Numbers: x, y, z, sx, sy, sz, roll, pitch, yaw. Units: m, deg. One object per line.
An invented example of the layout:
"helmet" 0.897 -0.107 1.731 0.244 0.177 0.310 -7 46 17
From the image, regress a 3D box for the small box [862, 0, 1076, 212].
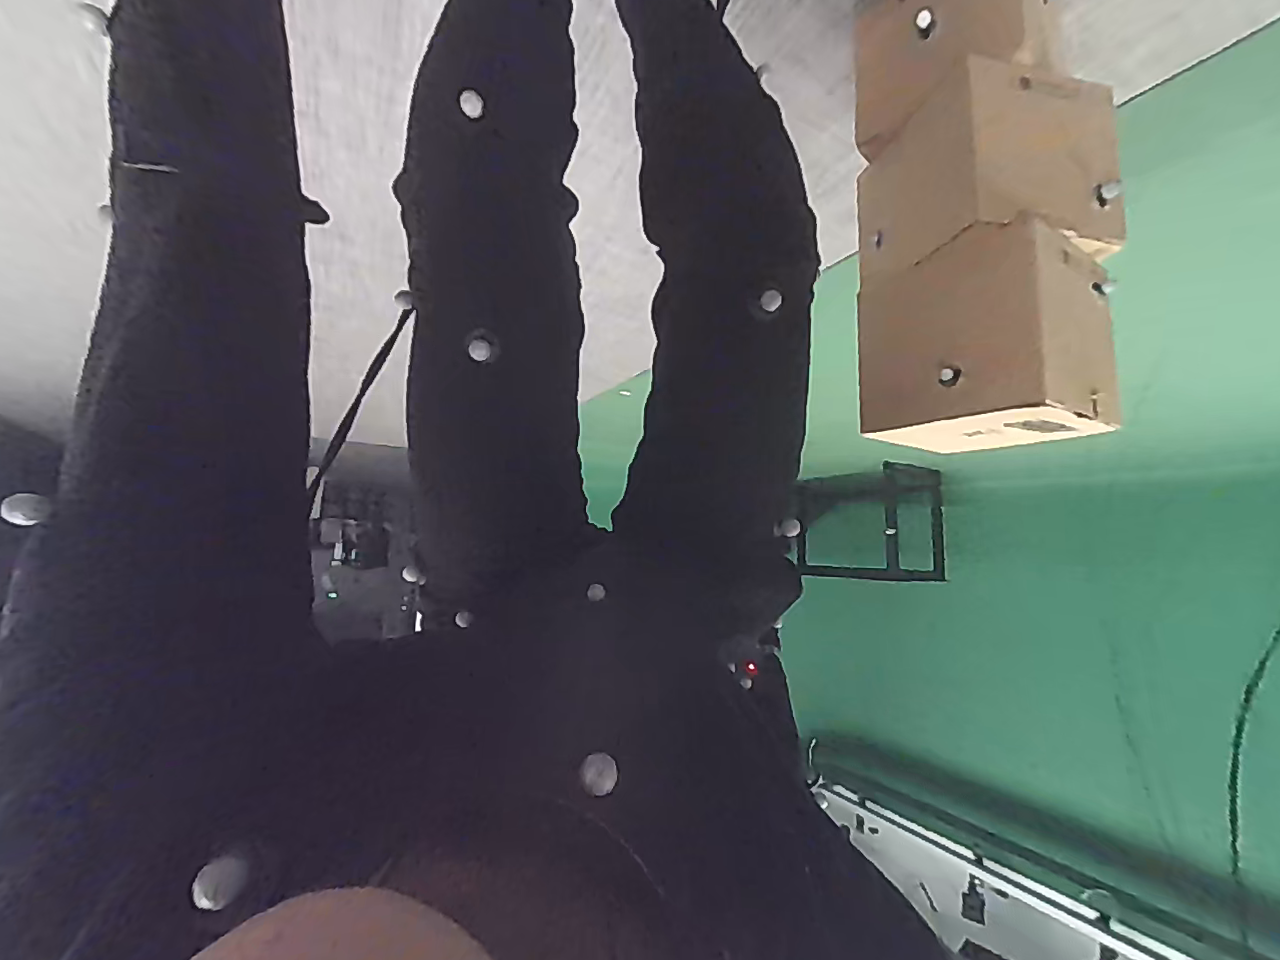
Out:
"small box" 0.369 -0.454 0.616 0.179 0.176 0.168 9 169 -39

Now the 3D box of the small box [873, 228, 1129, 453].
"small box" 0.362 -0.128 0.562 0.168 0.176 0.179 6 172 -32
